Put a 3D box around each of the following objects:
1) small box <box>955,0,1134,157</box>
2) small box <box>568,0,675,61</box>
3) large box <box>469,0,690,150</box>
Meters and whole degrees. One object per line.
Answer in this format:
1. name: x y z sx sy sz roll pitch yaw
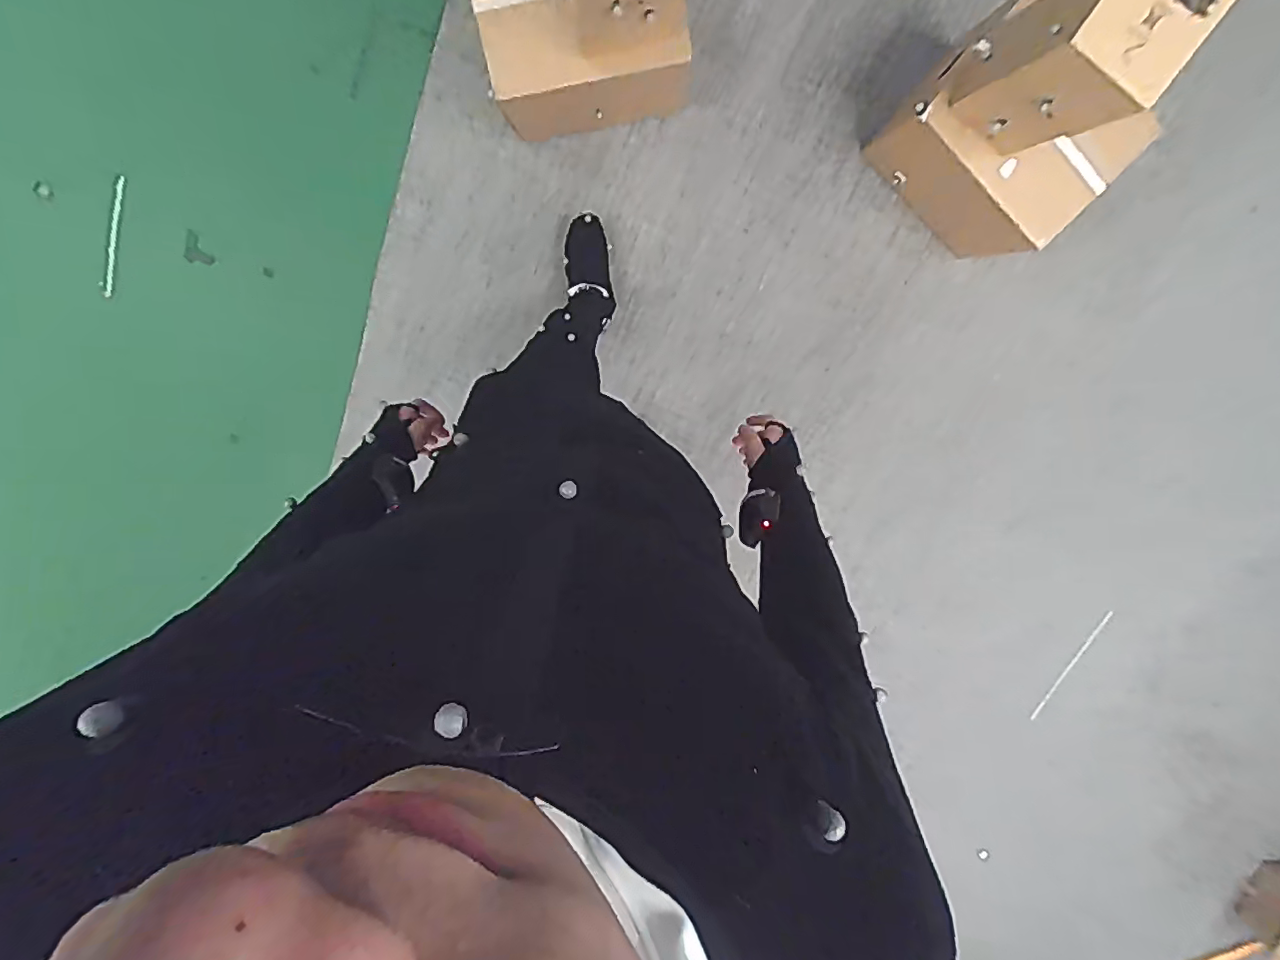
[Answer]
1. small box: 0.725 -0.739 1.000 0.168 0.176 0.179 31 106 -11
2. small box: -0.043 -0.874 0.942 0.179 0.176 0.168 -11 107 3
3. large box: -0.124 -0.965 1.170 0.408 0.320 0.320 -10 106 3
